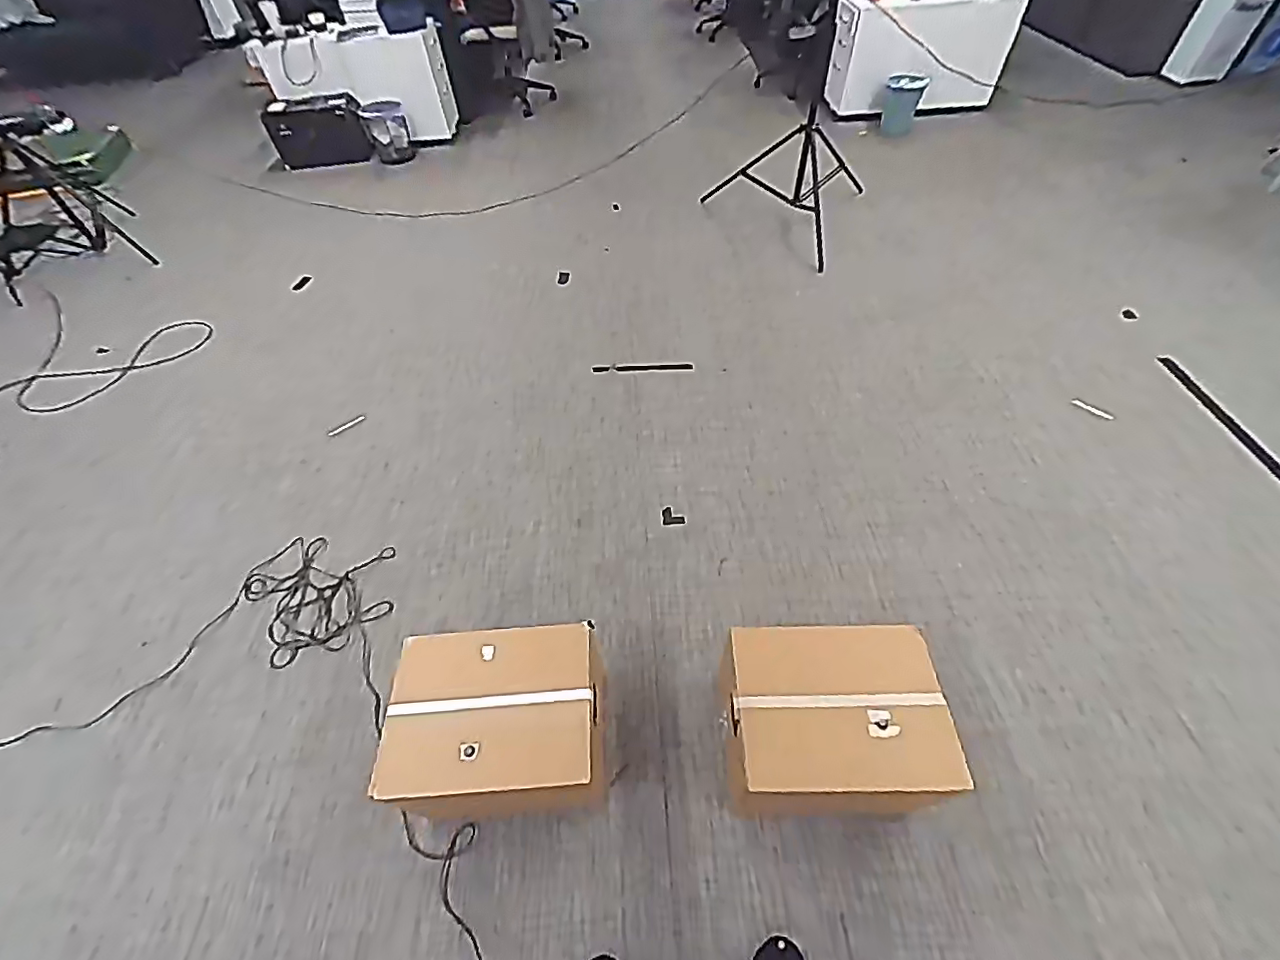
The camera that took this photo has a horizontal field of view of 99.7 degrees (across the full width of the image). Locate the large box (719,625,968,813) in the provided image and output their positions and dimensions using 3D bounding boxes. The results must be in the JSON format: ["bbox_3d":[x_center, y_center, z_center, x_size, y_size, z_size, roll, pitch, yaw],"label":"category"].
[{"bbox_3d":[0.401,0.529,1.188,0.408,0.320,0.320,-1,52,1],"label":"large box"}]
